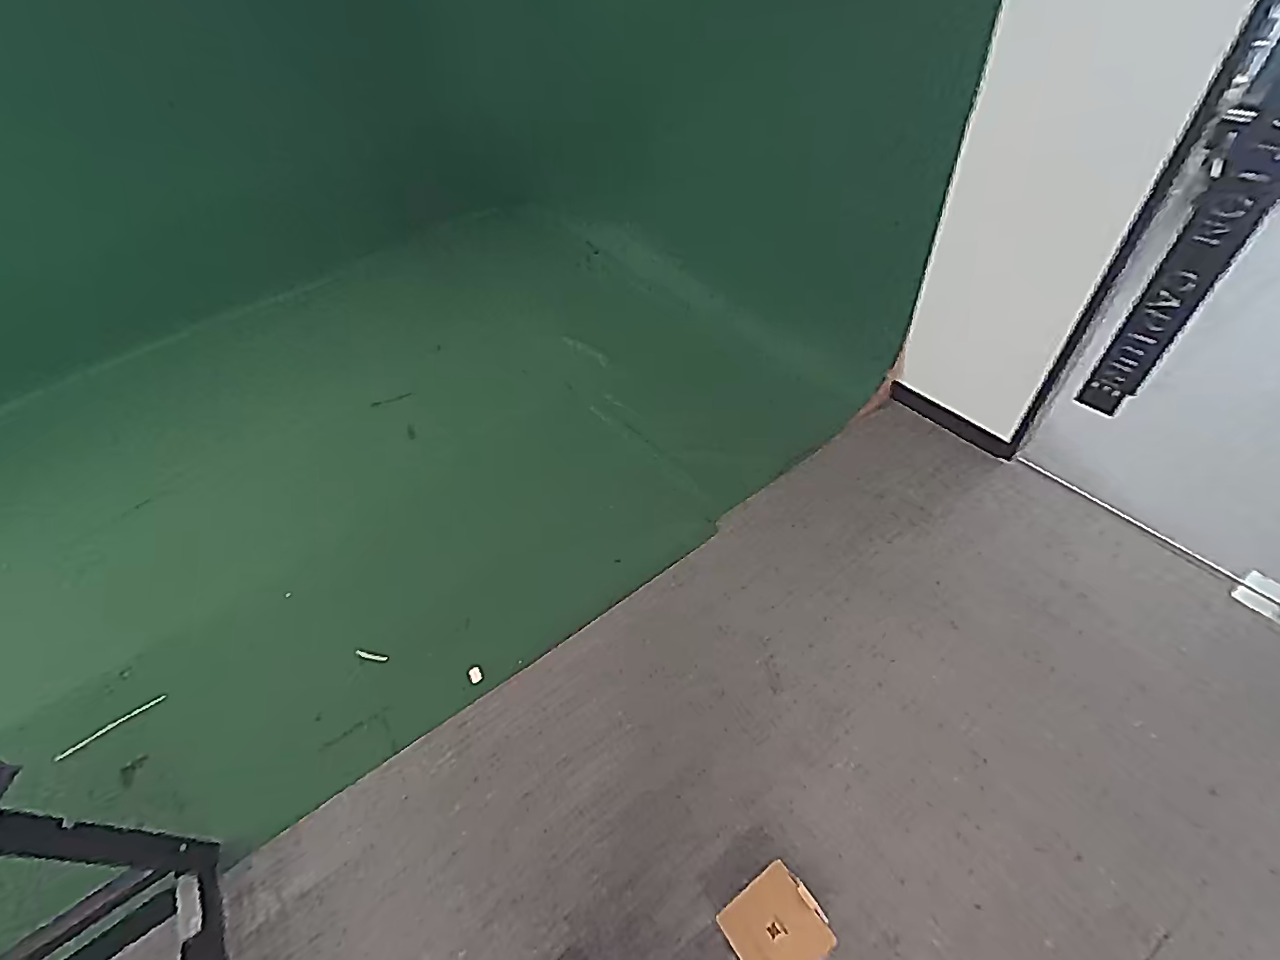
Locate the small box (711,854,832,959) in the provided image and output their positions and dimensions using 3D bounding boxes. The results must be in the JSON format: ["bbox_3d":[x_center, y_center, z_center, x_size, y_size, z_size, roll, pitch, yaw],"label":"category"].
[{"bbox_3d":[0.264,0.918,1.118,0.179,0.176,0.168,-30,50,-14],"label":"small box"}]
